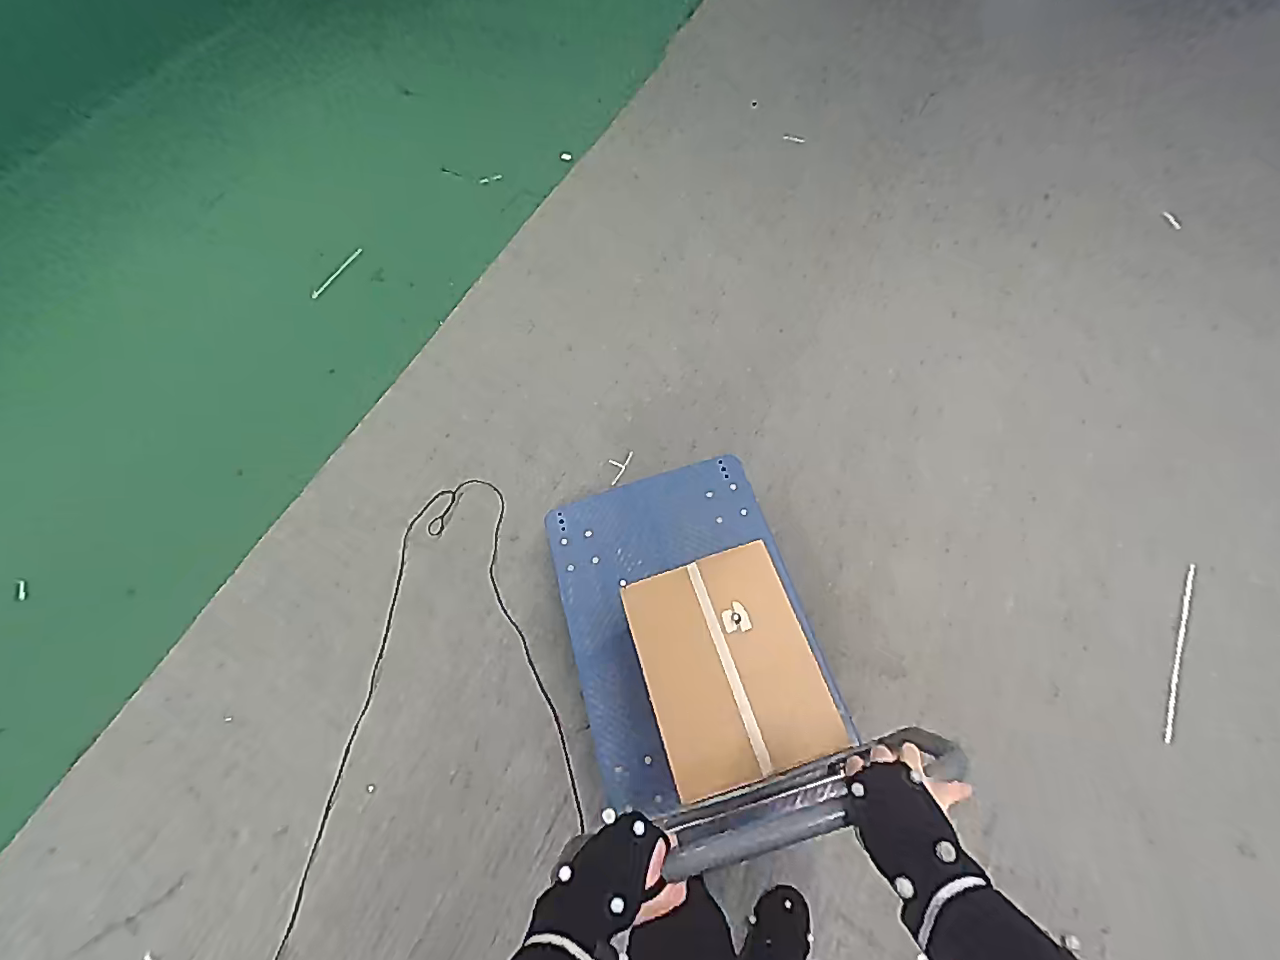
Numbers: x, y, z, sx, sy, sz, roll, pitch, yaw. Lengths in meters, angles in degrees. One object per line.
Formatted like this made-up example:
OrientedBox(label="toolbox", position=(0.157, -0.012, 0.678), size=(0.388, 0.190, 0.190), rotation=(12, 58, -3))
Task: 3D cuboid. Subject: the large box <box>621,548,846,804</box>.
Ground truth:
OrientedBox(label="large box", position=(0.185, 0.421, 1.168), size=(0.320, 0.320, 0.408), rotation=(-19, 61, -1))
